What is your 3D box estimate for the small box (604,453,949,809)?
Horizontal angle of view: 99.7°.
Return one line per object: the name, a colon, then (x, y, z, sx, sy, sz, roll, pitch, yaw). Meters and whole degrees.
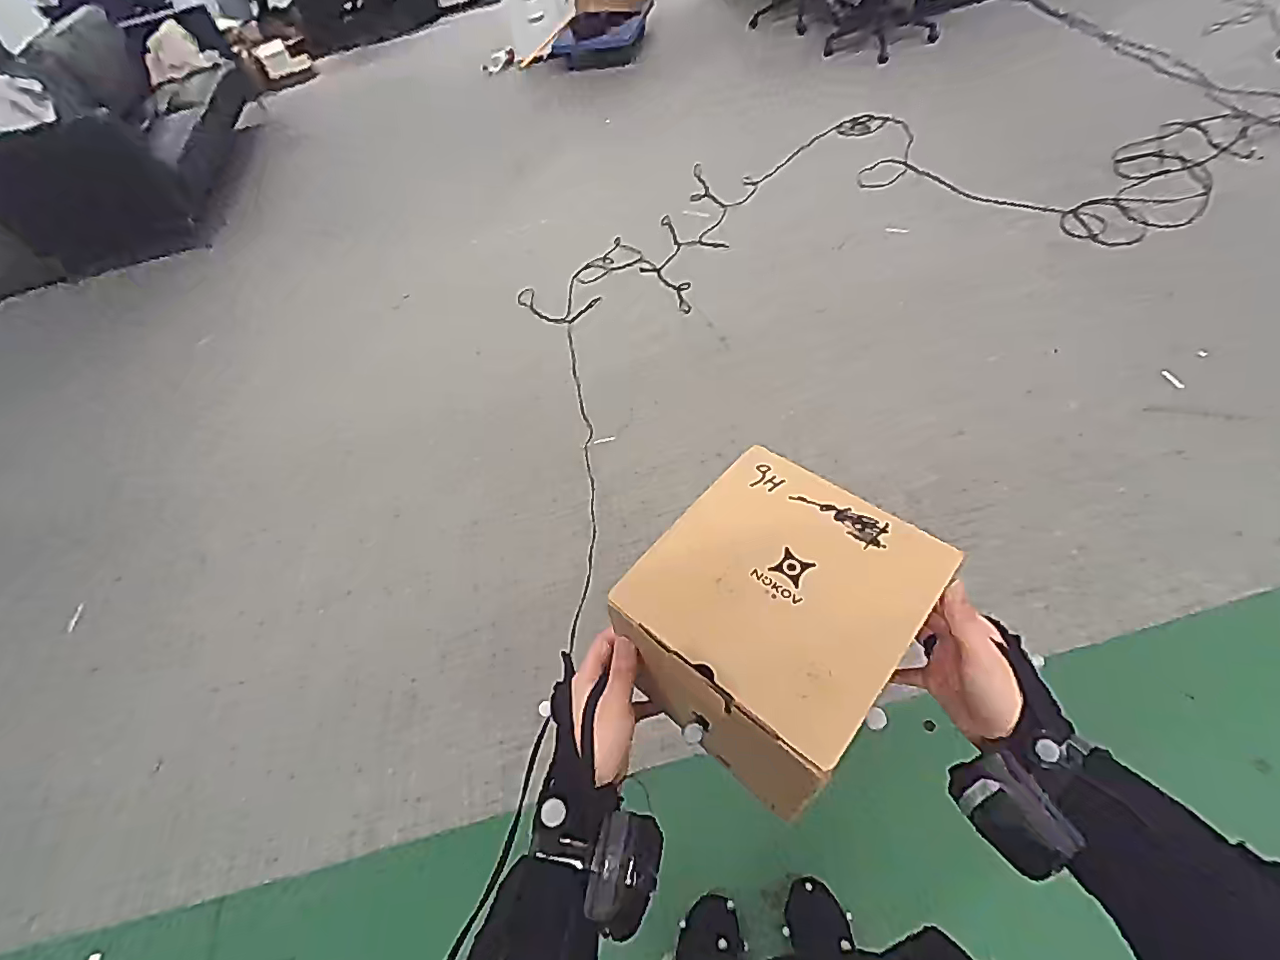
small box: (0.100, 0.119, 0.423, 0.168, 0.176, 0.179, 32, 62, 29)
